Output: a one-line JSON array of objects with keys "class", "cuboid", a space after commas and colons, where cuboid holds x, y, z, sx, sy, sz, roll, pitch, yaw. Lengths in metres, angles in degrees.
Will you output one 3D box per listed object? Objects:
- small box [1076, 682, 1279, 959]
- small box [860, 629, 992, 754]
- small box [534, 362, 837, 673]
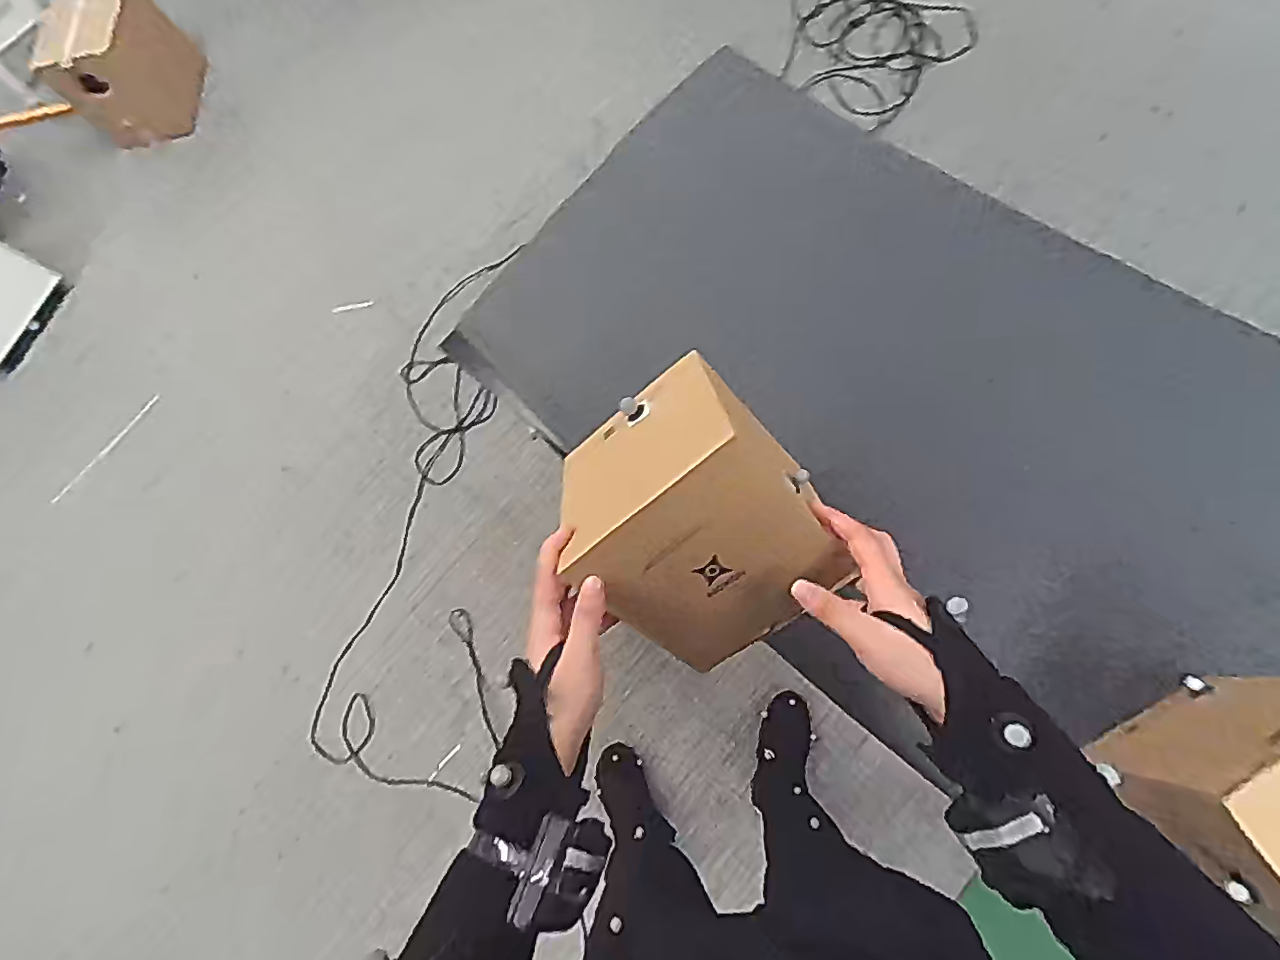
[{"class": "small box", "cuboid": [0.512, 0.275, 0.426, 0.168, 0.176, 0.179, -28, 71, -2]}, {"class": "small box", "cuboid": [0.586, 0.435, 1.138, 0.168, 0.176, 0.179, 34, 82, 16]}, {"class": "small box", "cuboid": [0.032, 0.027, 0.473, 0.168, 0.179, 0.176, -41, 27, 18]}]
